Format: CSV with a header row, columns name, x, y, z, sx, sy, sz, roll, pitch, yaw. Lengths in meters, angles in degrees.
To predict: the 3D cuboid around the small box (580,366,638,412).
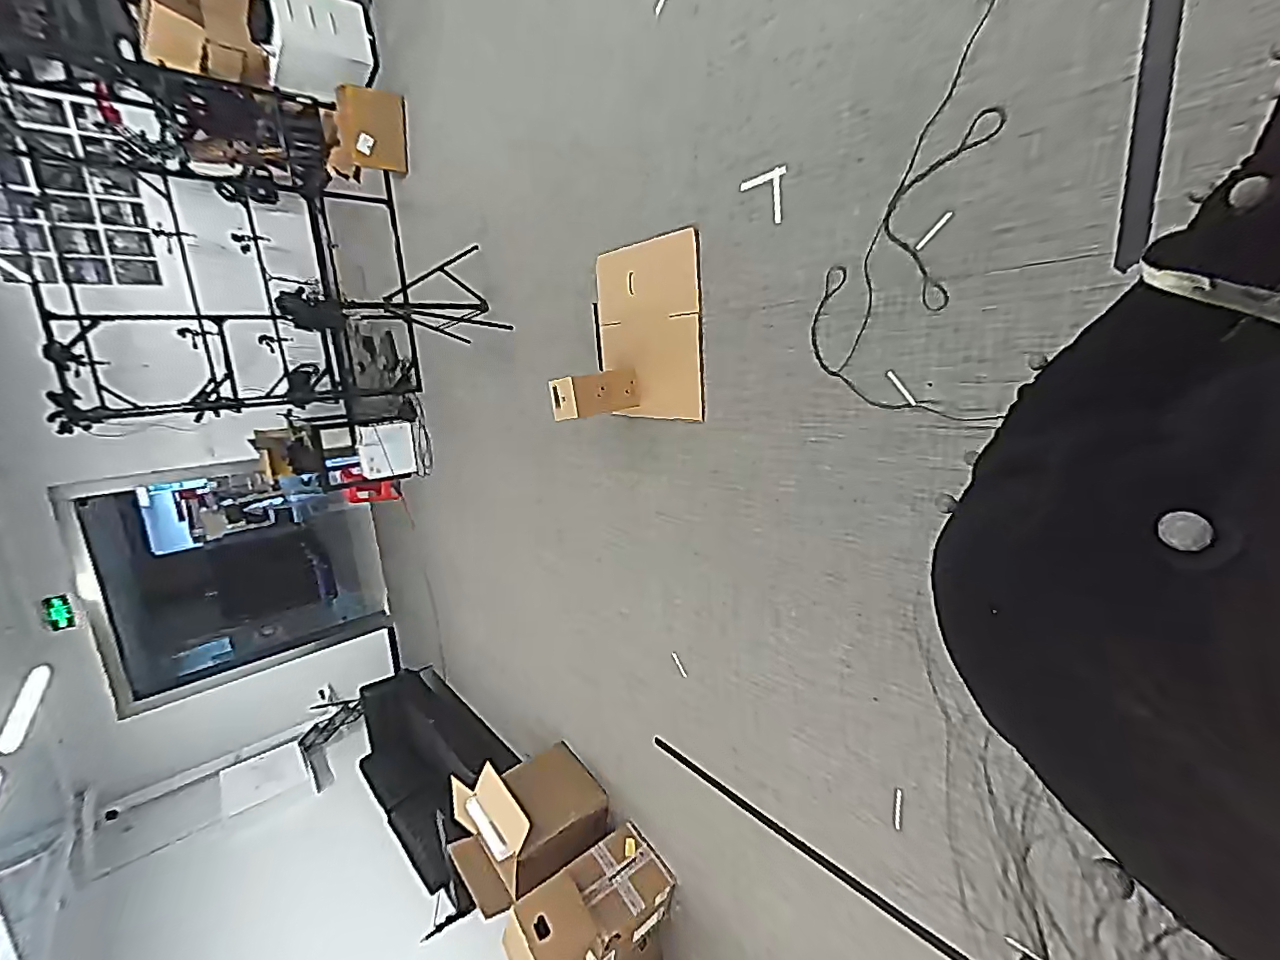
name,x,y,z,sx,sy,sz,roll,pitch,yaw
small box,-0.131,-0.390,2.330,0.179,0.176,0.168,-3,100,51
